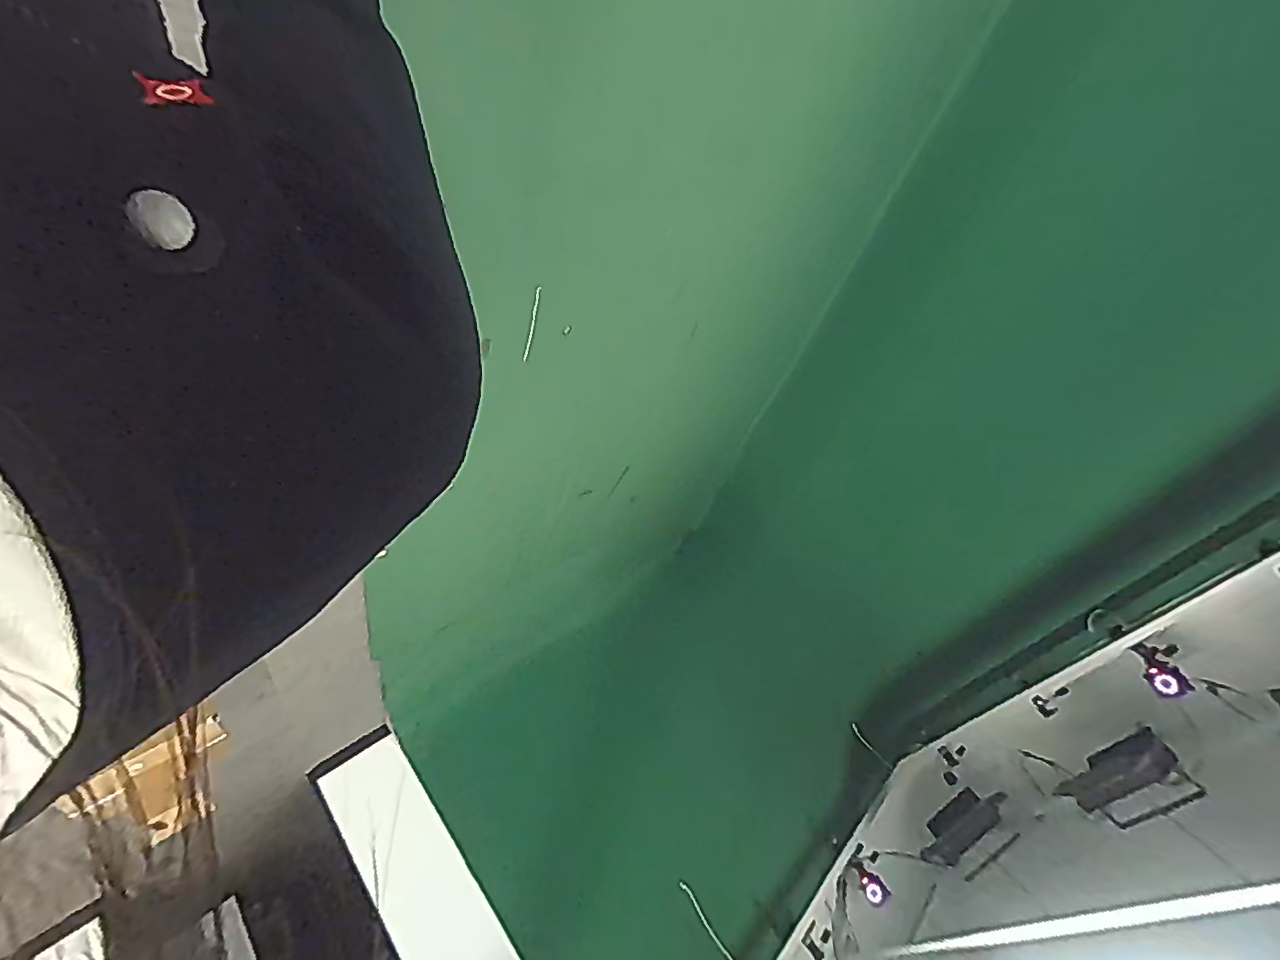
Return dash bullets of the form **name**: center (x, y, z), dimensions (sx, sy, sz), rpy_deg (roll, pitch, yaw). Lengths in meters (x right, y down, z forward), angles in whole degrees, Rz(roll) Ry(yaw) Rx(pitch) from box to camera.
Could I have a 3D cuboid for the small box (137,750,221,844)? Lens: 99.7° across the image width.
- **small box**: center (-1.522, 1.040, 1.783), dimensions (0.179, 0.176, 0.168), rpy_deg (-21, 143, -45)
